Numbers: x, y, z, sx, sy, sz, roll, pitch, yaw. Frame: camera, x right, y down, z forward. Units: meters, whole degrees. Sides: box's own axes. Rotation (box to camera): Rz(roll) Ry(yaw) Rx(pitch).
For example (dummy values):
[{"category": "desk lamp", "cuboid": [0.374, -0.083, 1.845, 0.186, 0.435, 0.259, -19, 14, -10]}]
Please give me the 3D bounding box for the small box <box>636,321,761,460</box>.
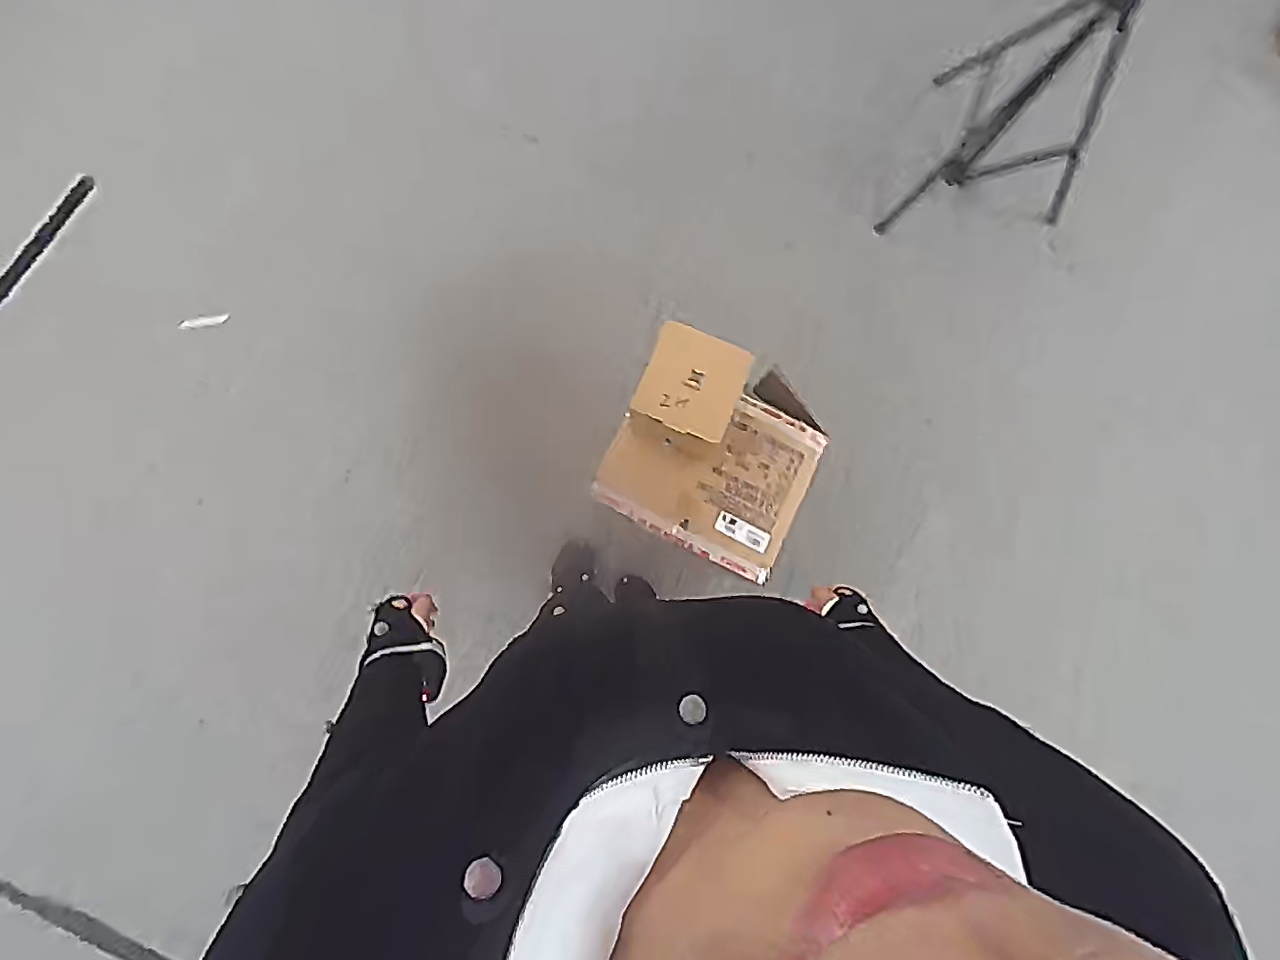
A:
[{"category": "small box", "cuboid": [0.097, -0.154, 0.990, 0.168, 0.176, 0.179, 23, 84, 3]}]
